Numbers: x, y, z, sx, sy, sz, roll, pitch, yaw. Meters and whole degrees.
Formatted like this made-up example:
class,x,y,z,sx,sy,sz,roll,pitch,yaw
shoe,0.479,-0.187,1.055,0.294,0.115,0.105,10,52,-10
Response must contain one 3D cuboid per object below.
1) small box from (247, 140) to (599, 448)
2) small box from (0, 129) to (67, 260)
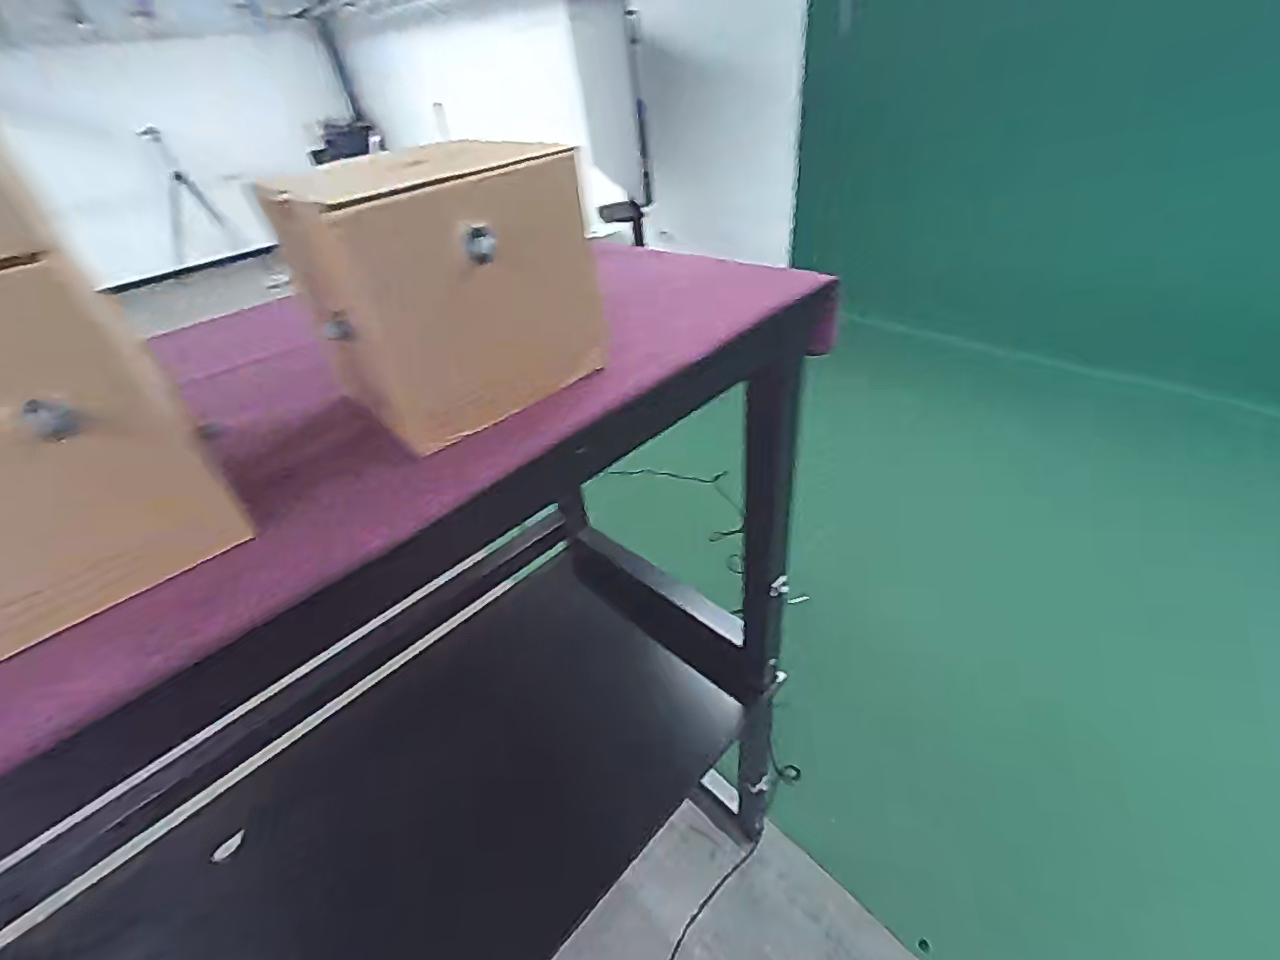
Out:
class,x,y,z,sx,sy,sz,roll,pitch,yaw
small box,-0.152,-0.150,0.420,0.179,0.176,0.168,-33,46,-29
small box,-0.378,-0.150,0.193,0.179,0.176,0.168,-34,44,-28
